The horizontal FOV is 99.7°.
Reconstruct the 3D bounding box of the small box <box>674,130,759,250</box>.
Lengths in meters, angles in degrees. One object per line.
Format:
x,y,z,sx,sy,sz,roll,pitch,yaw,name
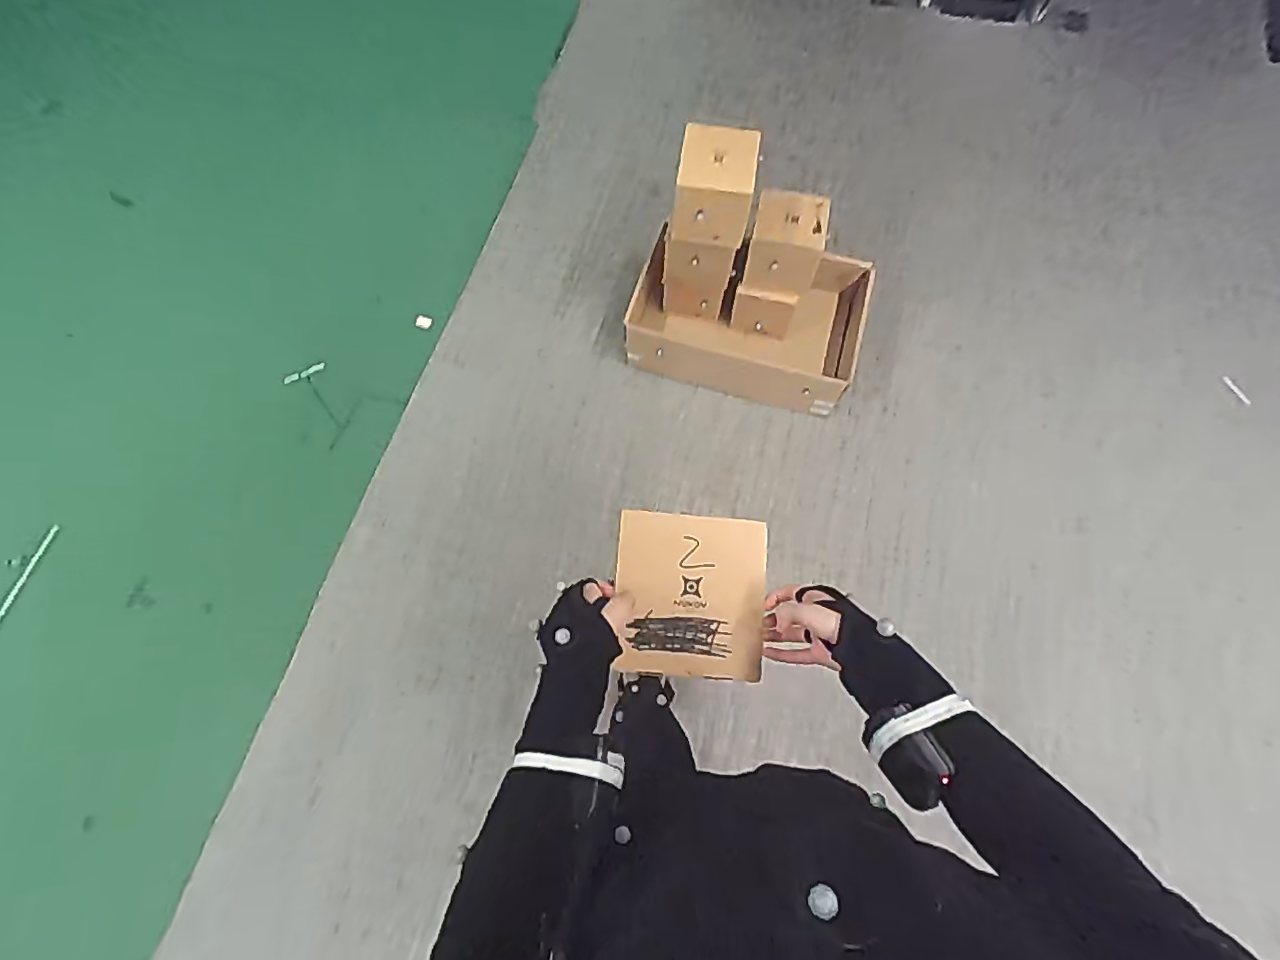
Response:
0.169,-0.655,1.236,0.168,0.176,0.179,8,72,4,small box

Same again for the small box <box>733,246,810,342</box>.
0.365,-0.522,1.528,0.168,0.176,0.179,15,72,9,small box

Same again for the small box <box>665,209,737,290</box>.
0.166,-0.616,1.395,0.179,0.176,0.168,12,72,6,small box
